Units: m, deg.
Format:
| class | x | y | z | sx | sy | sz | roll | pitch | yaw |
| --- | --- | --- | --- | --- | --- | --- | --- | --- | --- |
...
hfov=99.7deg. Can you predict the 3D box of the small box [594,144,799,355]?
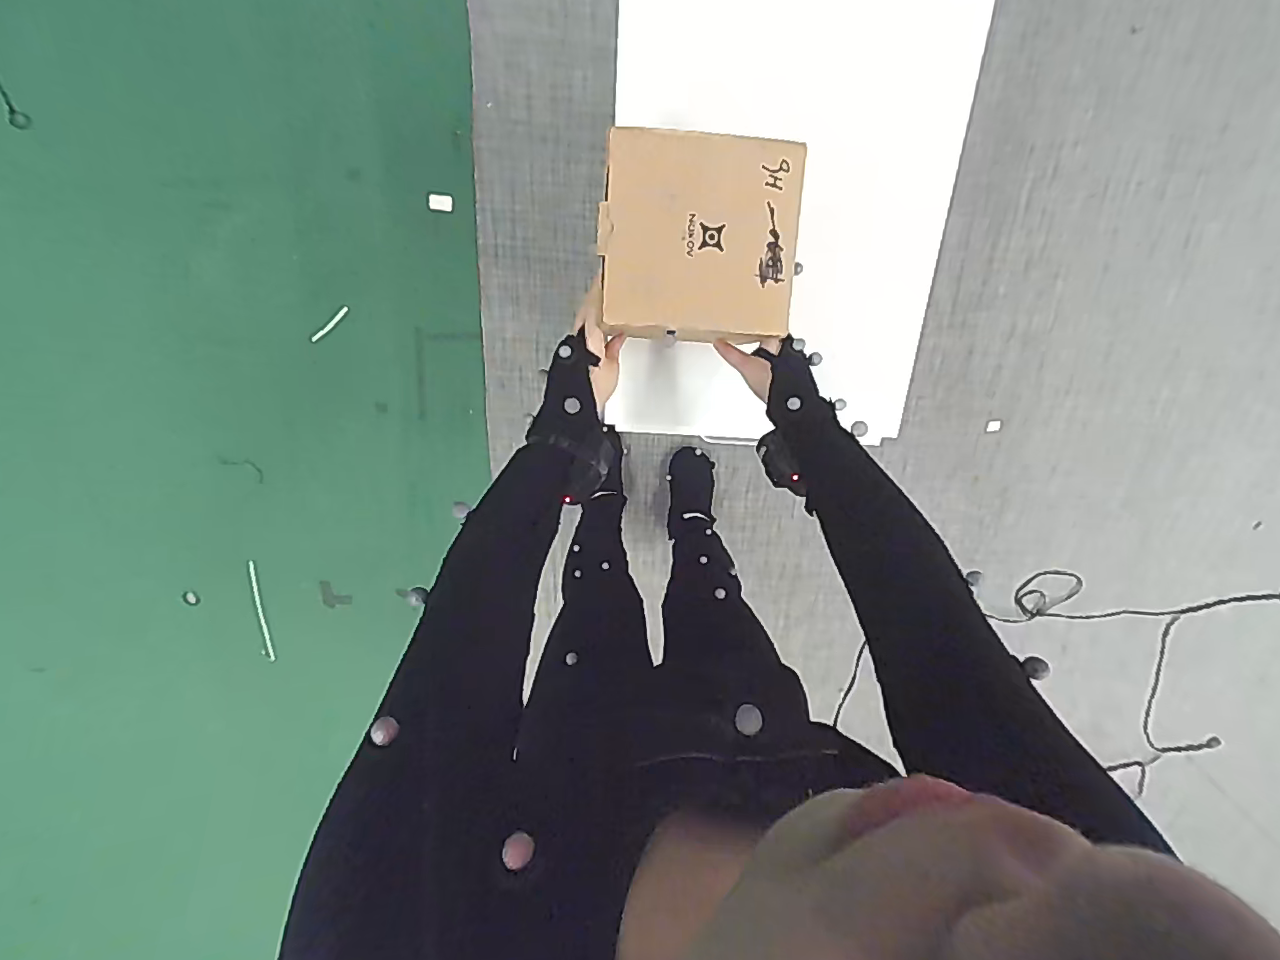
| class | x | y | z | sx | sy | sz | roll | pitch | yaw |
| --- | --- | --- | --- | --- | --- | --- | --- | --- | --- |
| small box | 0.046 | -0.222 | 0.565 | 0.179 | 0.176 | 0.168 | 3 | 101 | -4 |
